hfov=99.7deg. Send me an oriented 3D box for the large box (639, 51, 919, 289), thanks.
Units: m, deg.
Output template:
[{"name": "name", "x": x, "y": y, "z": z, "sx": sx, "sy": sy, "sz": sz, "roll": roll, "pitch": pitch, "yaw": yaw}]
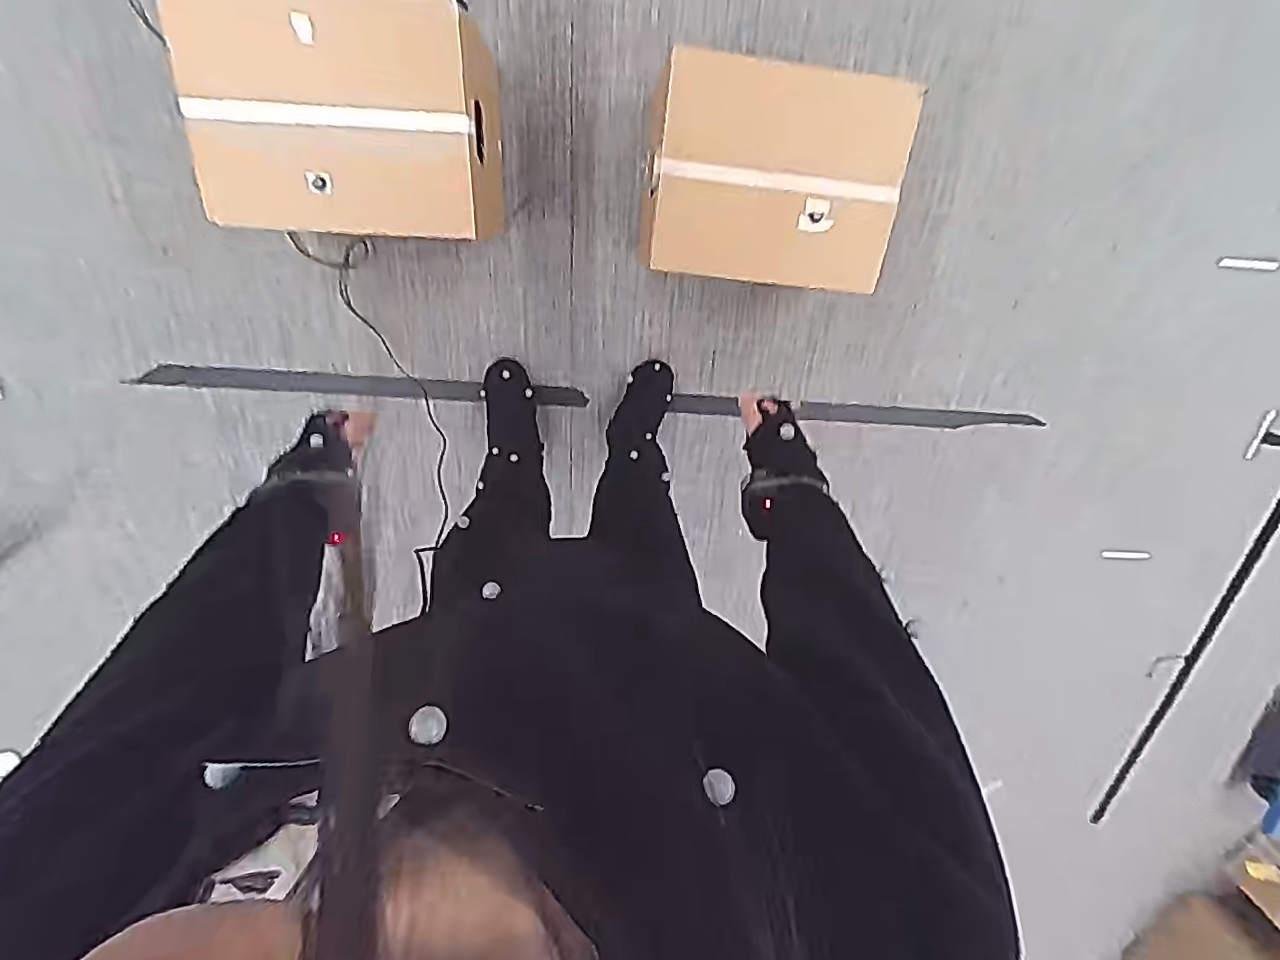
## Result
[{"name": "large box", "x": 0.220, "y": -0.550, "z": 1.026, "sx": 0.408, "sy": 0.320, "sz": 0.320, "roll": 4, "pitch": 113, "yaw": -7}]
